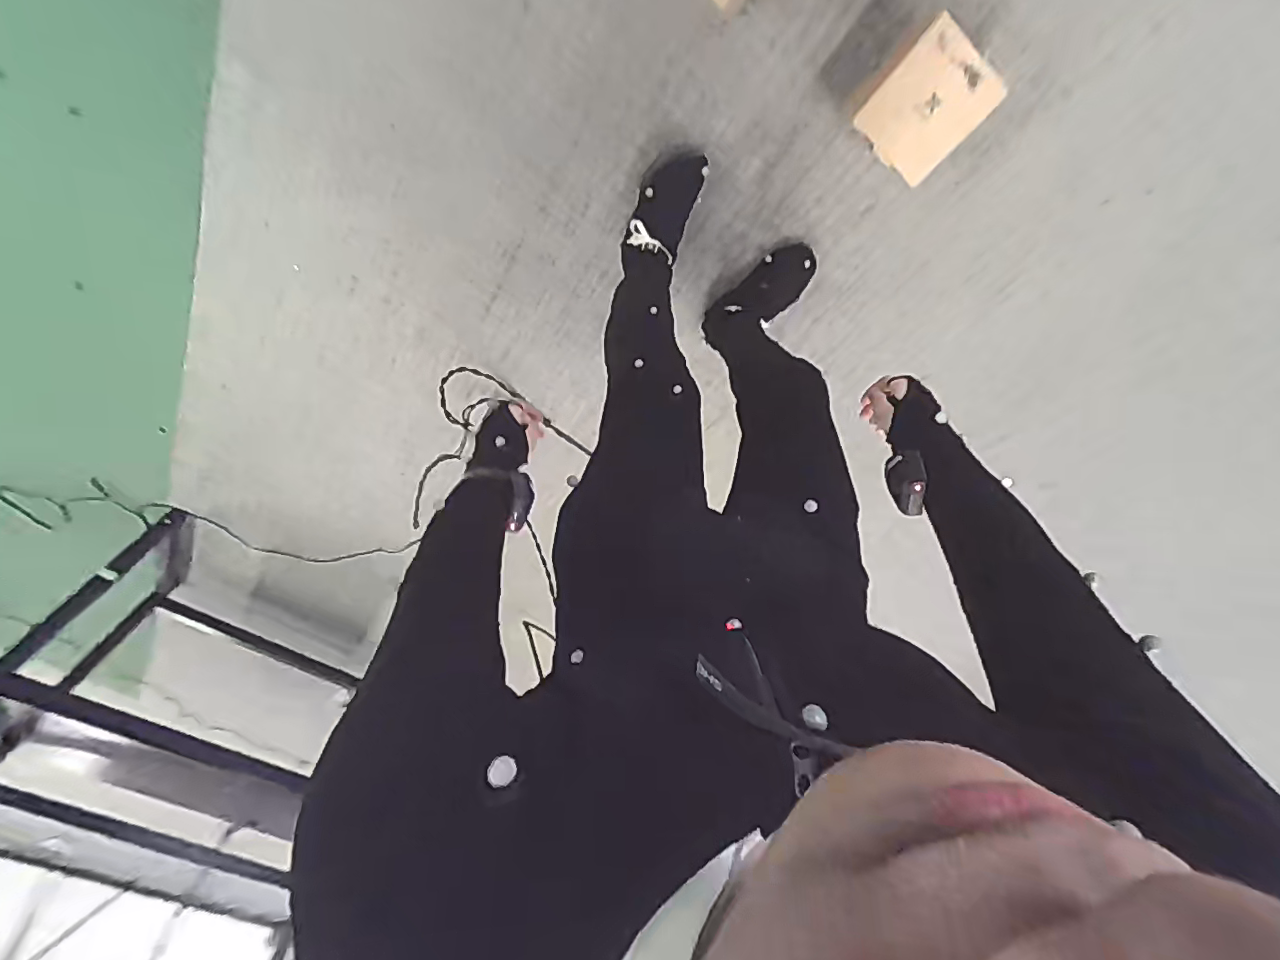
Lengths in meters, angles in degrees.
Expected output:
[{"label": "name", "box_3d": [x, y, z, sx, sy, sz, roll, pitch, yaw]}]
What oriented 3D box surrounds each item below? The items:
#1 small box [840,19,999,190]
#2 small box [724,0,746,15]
[{"label": "small box", "box_3d": [0.473, -0.655, 0.949, 0.168, 0.176, 0.179, 34, 126, -18]}, {"label": "small box", "box_3d": [0.130, -0.865, 0.838, 0.179, 0.176, 0.168, 32, 126, -17]}]
